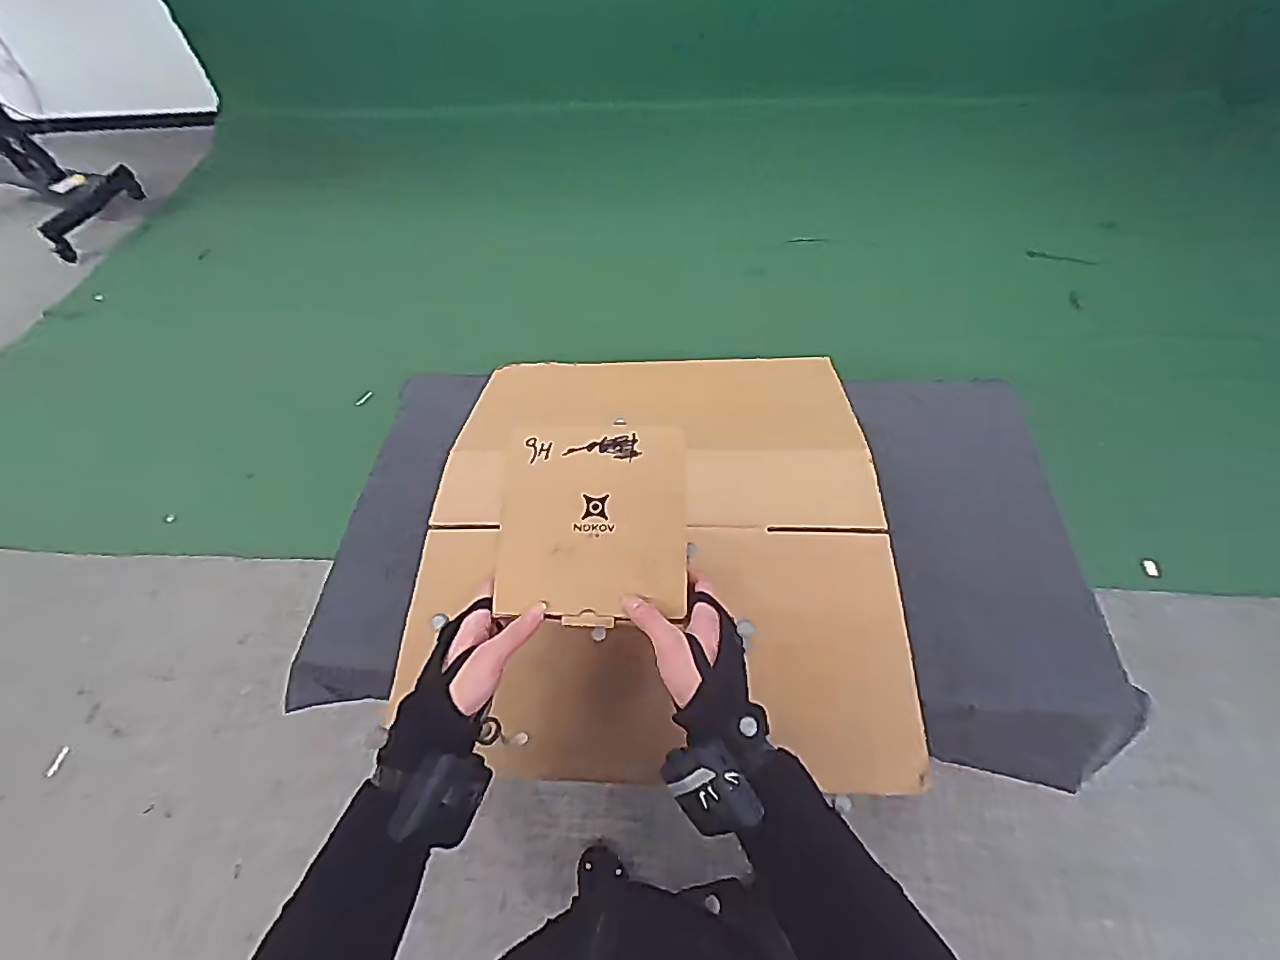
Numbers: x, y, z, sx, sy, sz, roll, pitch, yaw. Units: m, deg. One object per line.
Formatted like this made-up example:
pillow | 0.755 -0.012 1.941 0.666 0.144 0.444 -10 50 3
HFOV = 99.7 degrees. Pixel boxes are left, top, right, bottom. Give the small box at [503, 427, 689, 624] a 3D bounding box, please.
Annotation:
small box | -0.033 0.058 0.560 0.168 0.176 0.179 -1 73 3
